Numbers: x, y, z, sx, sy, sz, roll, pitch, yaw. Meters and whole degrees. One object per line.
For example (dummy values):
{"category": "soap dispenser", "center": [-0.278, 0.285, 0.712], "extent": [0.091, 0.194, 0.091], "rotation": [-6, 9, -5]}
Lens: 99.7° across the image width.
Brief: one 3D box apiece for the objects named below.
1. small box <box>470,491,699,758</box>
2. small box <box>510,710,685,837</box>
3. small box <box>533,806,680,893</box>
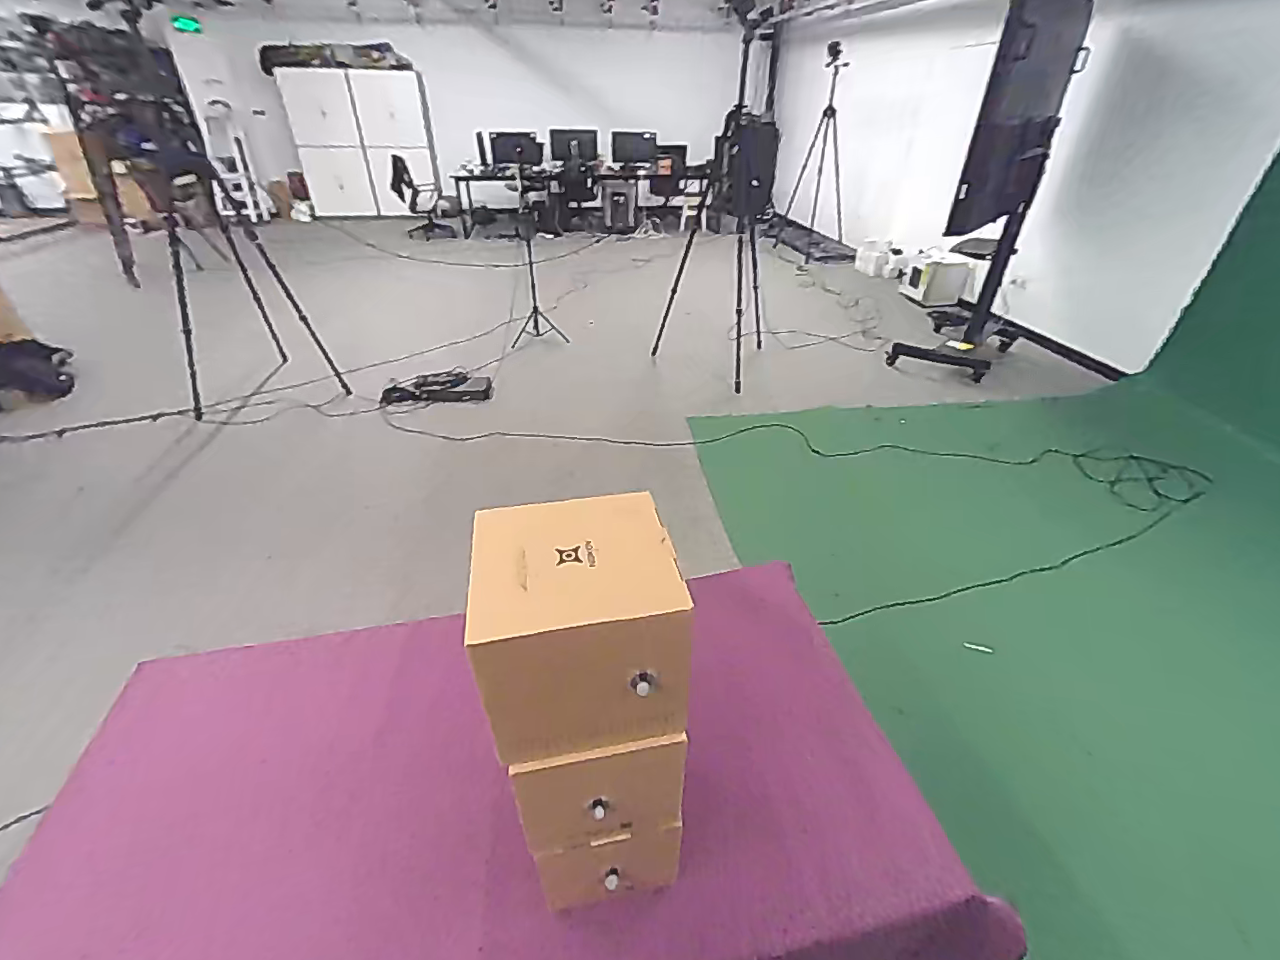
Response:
{"category": "small box", "center": [-0.053, 0.132, 0.514], "extent": [0.179, 0.176, 0.168], "rotation": [-6, 35, -9]}
{"category": "small box", "center": [-0.050, 0.268, 0.605], "extent": [0.168, 0.176, 0.179], "rotation": [-5, 36, -9]}
{"category": "small box", "center": [-0.048, 0.402, 0.701], "extent": [0.168, 0.176, 0.179], "rotation": [-5, 37, -9]}
